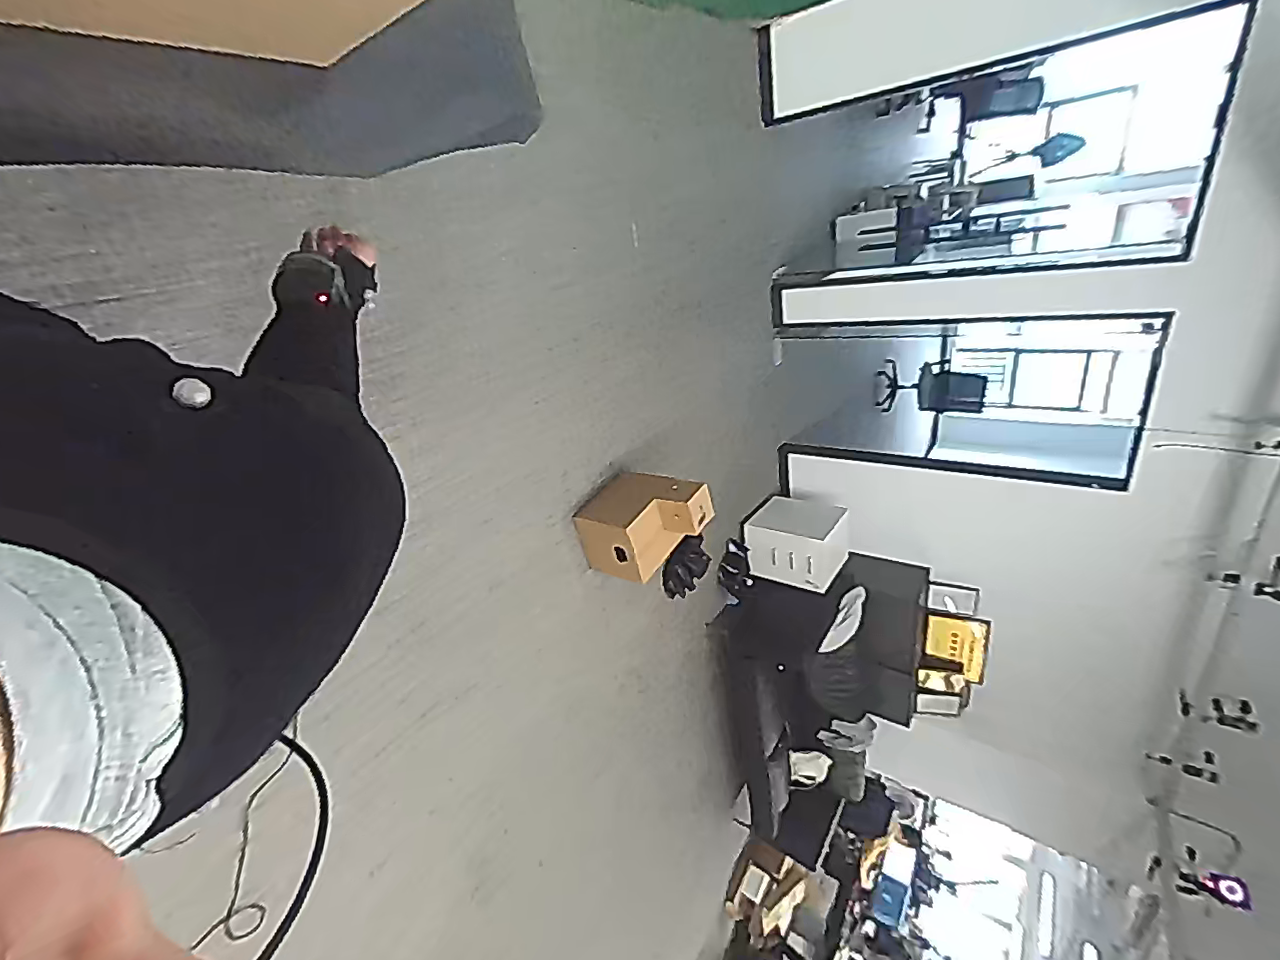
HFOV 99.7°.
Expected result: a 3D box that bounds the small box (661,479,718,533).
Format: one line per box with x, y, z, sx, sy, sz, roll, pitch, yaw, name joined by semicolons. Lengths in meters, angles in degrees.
0.219;0.110;2.386;0.168;0.176;0.179;-43;126;-40;small box
